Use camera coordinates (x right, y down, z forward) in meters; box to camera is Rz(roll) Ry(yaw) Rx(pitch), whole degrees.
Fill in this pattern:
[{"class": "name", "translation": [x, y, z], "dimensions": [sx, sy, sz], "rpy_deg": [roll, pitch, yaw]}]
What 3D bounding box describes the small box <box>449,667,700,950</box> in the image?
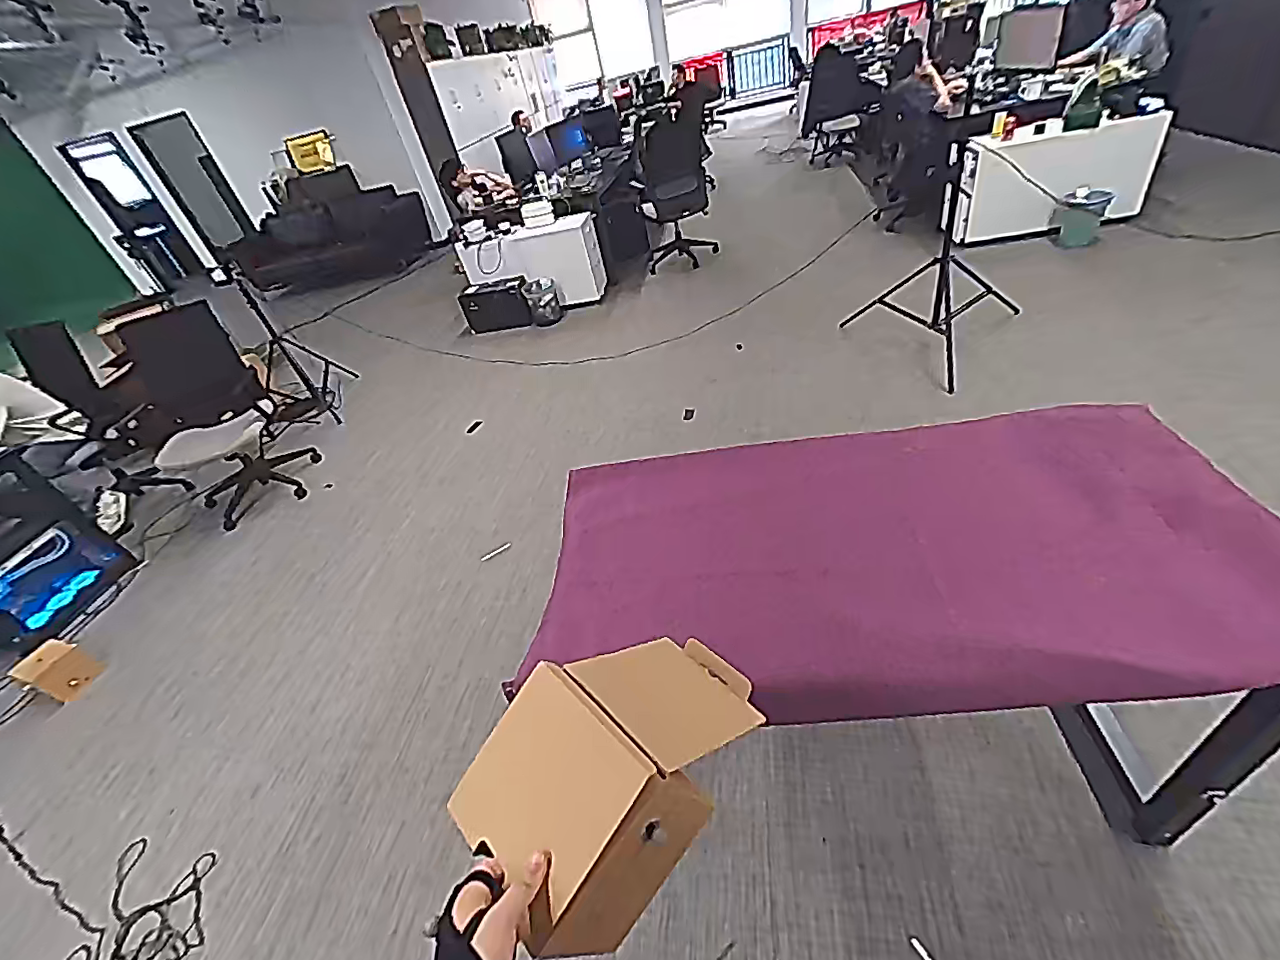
[{"class": "small box", "translation": [-0.056, 0.340, 0.571], "dimensions": [0.168, 0.176, 0.179], "rpy_deg": [29, 70, 41]}]
